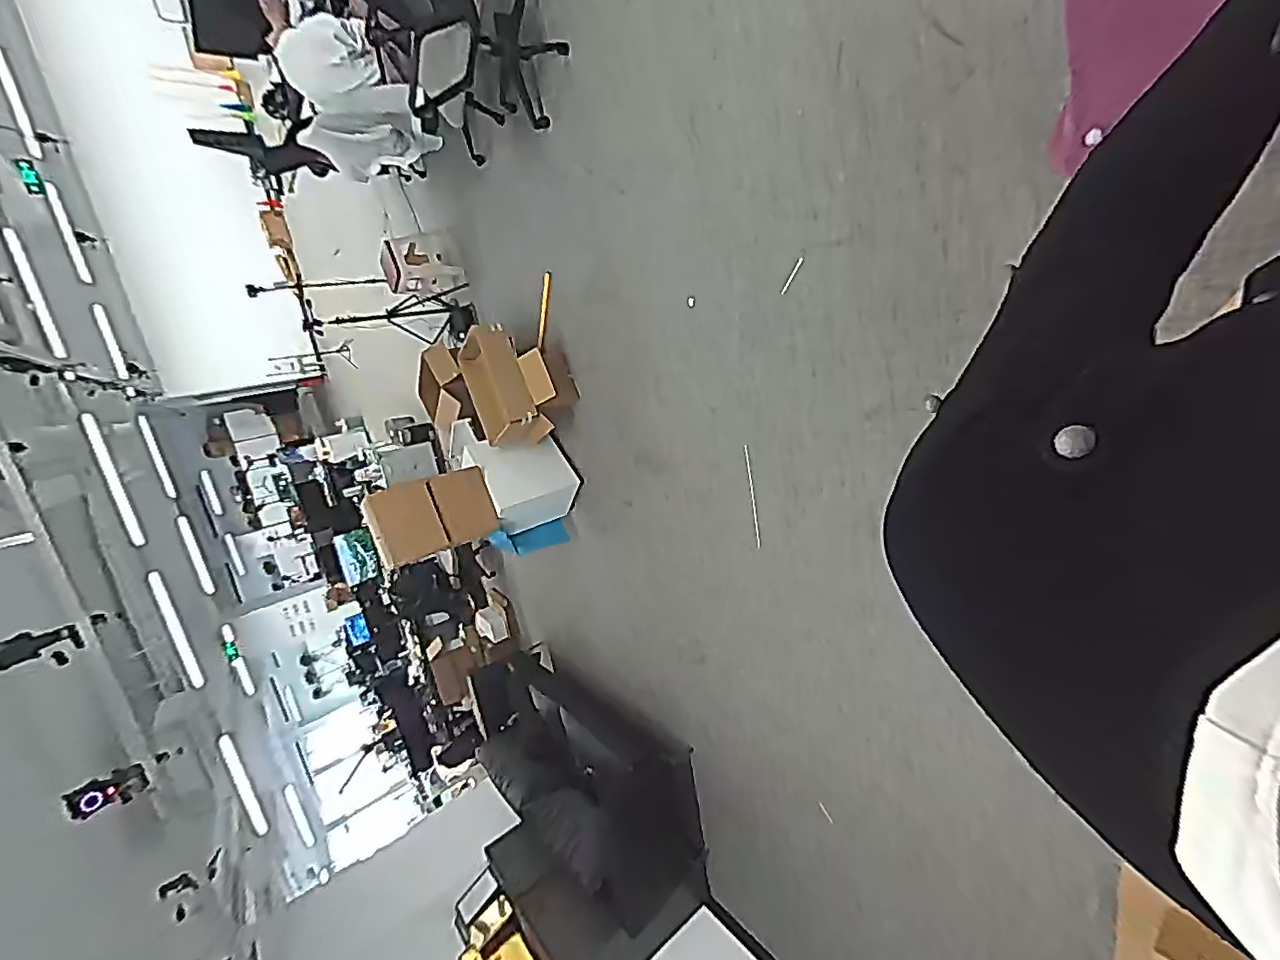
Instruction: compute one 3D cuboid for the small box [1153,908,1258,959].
[{"bbox_3d":[1.472,1.288,1.412,0.179,0.176,0.168,11,115,51],"label":"small box"}]
